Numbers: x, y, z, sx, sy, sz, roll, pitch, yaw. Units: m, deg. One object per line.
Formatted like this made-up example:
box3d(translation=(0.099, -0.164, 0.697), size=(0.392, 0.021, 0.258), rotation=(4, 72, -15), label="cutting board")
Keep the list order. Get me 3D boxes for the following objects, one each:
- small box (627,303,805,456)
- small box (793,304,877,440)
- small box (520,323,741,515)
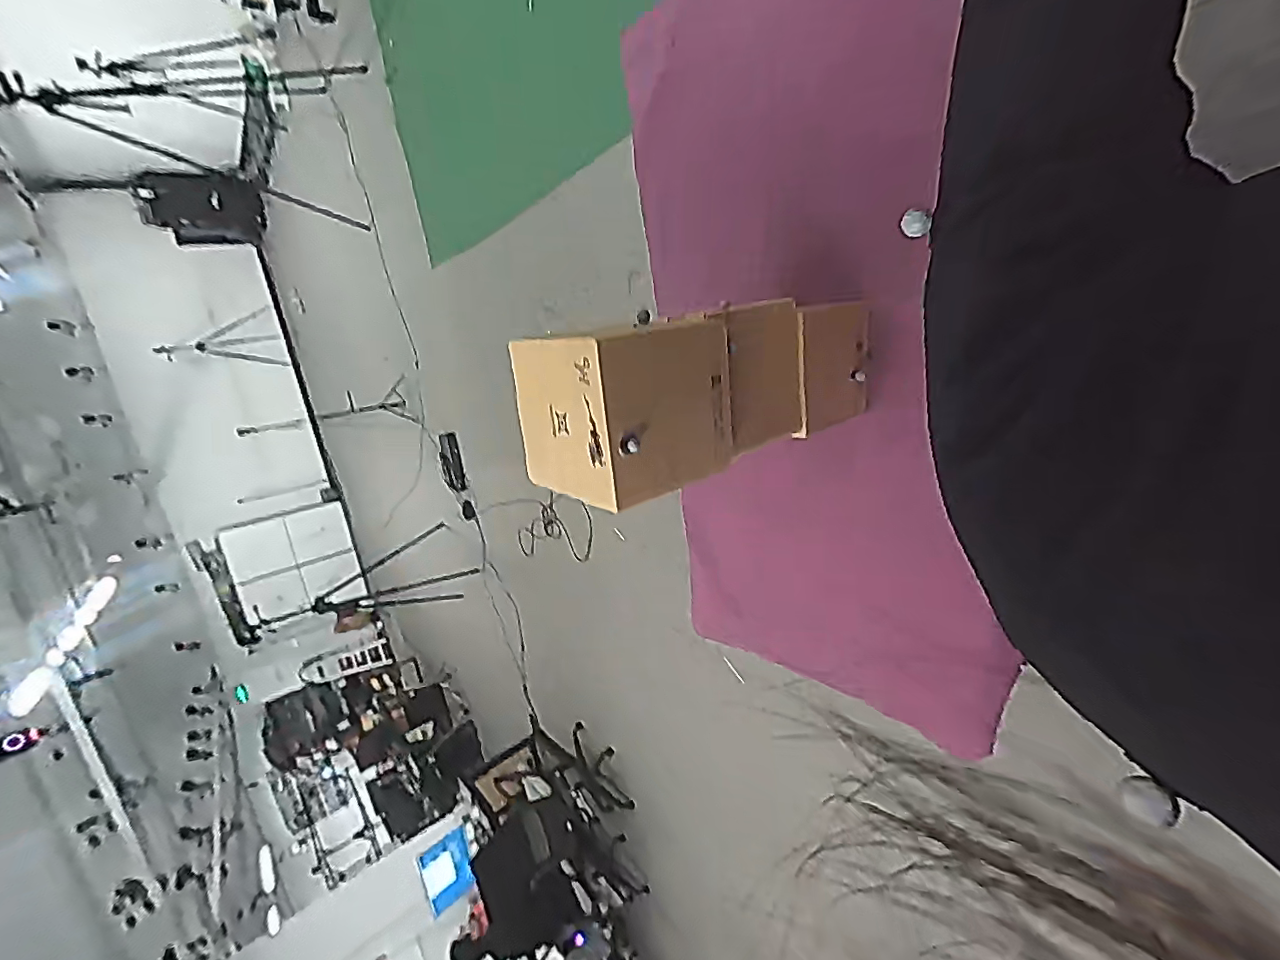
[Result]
box3d(translation=(0.102, -0.128, 0.715), size=(0.168, 0.176, 0.179), rotation=(12, 115, 51), label="small box")
box3d(translation=(0.228, -0.166, 0.809), size=(0.179, 0.176, 0.168), rotation=(14, 117, 49), label="small box")
box3d(translation=(-0.009, -0.080, 0.602), size=(0.179, 0.176, 0.168), rotation=(16, 119, 50), label="small box")
